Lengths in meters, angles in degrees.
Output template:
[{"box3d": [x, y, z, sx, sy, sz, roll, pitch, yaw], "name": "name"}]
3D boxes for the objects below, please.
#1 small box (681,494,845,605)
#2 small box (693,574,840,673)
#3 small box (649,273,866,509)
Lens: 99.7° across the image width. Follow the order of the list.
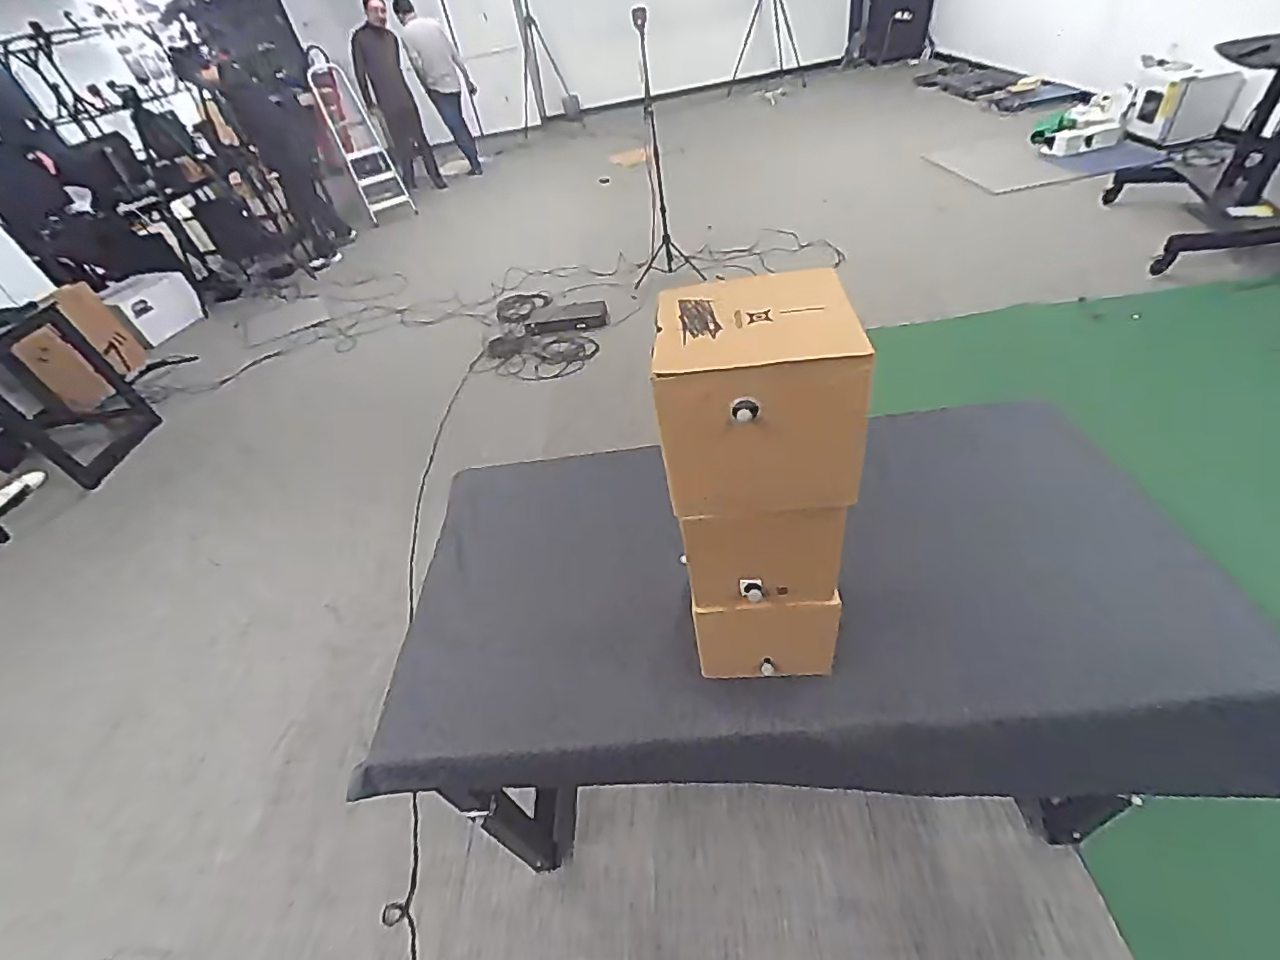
[{"box3d": [0.139, 0.031, 0.659, 0.168, 0.176, 0.179, -7, 43, 8], "name": "small box"}, {"box3d": [0.166, 0.155, 0.760, 0.179, 0.176, 0.168, -5, 42, 7], "name": "small box"}, {"box3d": [0.112, -0.084, 0.544, 0.179, 0.176, 0.168, -4, 43, 9], "name": "small box"}]
